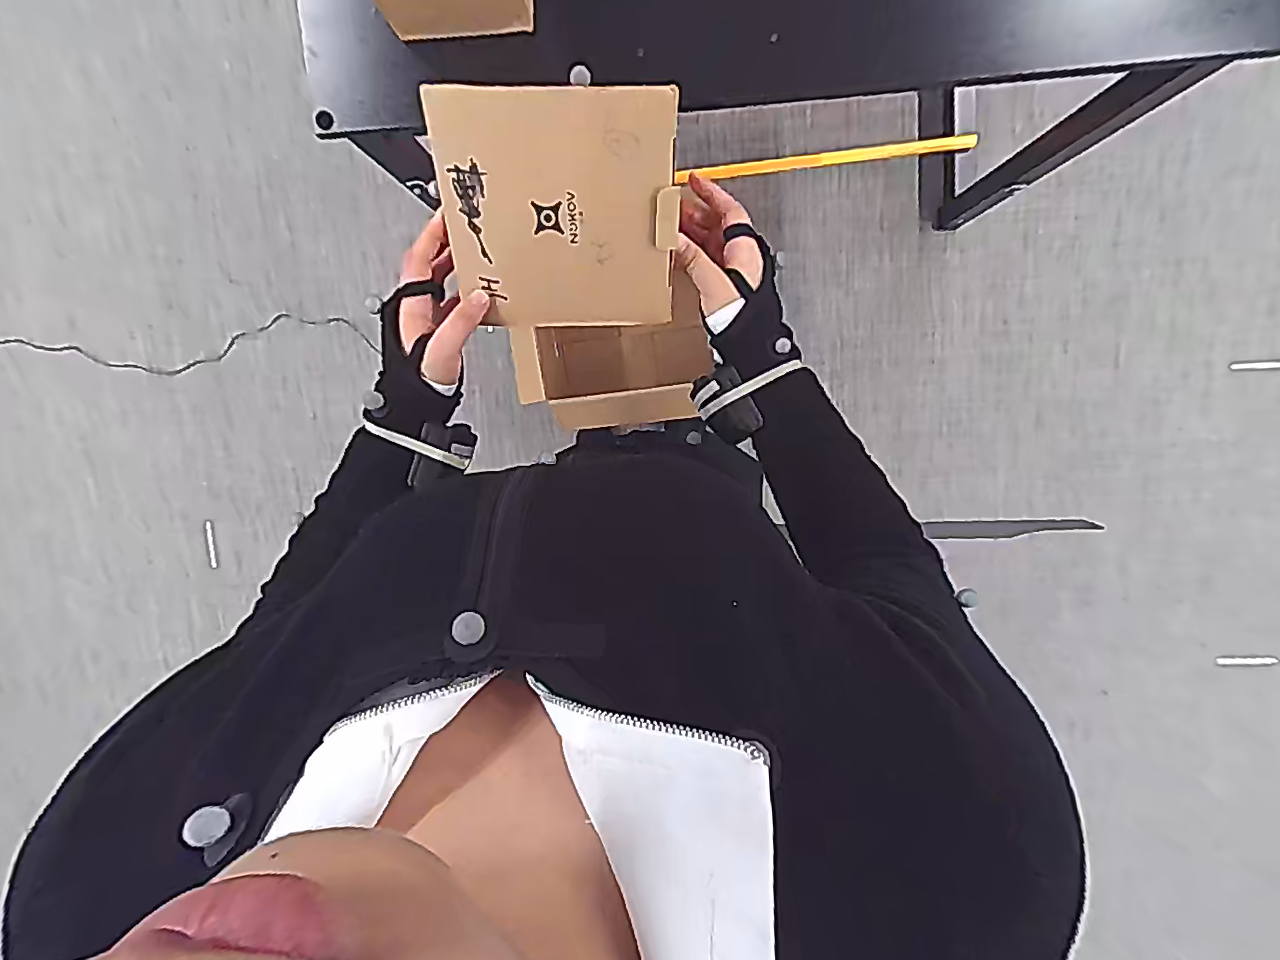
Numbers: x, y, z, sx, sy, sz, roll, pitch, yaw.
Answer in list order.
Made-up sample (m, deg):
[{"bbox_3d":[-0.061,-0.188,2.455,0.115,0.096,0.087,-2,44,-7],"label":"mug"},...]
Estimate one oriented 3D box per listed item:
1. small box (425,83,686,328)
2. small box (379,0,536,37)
[{"bbox_3d":[-0.060,-0.239,0.467,0.179,0.176,0.168,-1,125,-2],"label":"small box"},{"bbox_3d":[-0.222,-0.626,0.589,0.179,0.176,0.168,-2,99,1],"label":"small box"}]
